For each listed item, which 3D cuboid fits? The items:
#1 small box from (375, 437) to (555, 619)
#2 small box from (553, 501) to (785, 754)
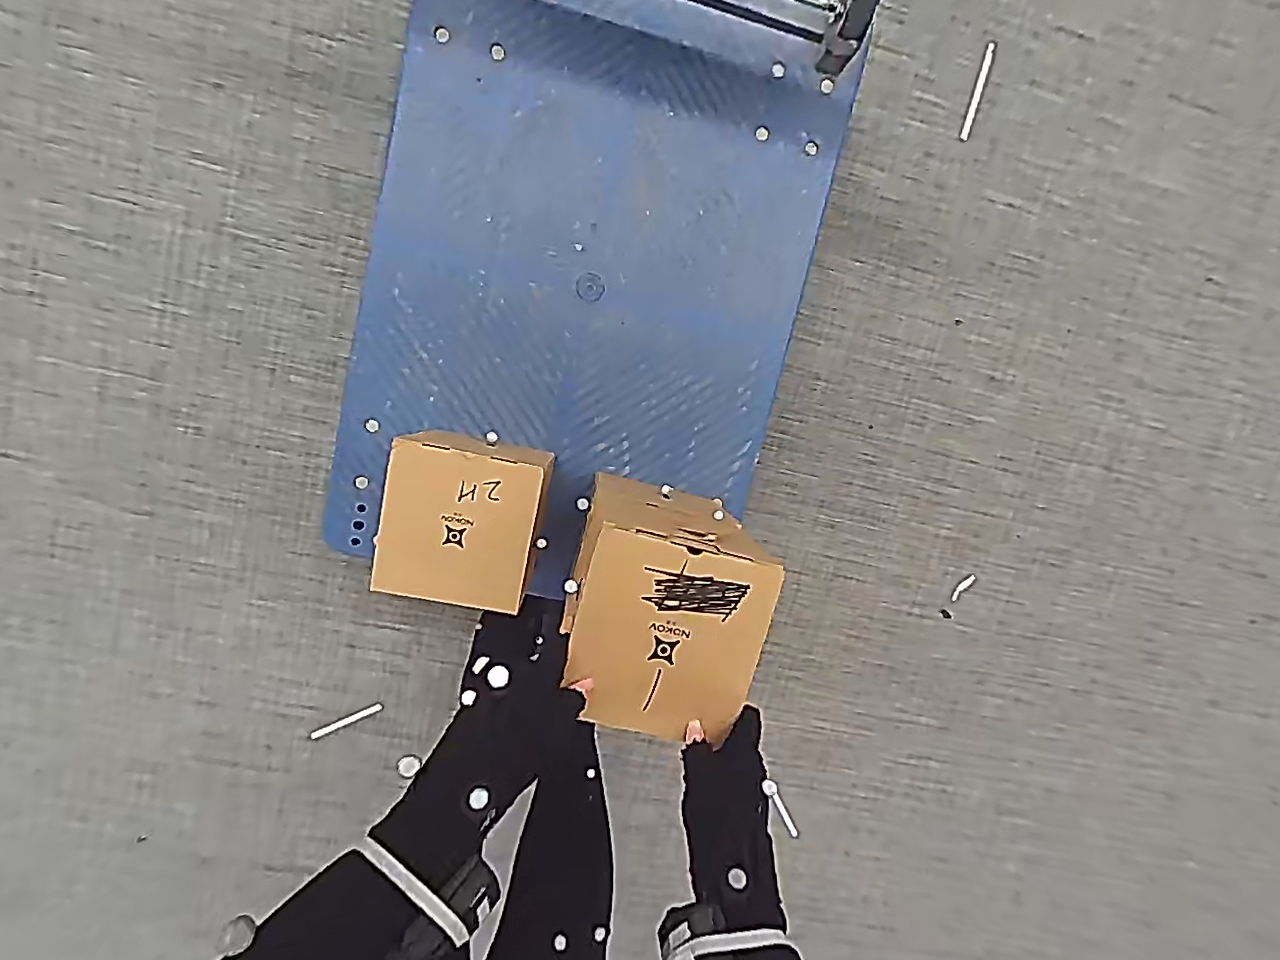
[{"bbox_3d":[-0.205,0.049,0.681,0.168,0.176,0.179,12,96,-7],"label":"small box"},{"bbox_3d":[0.018,0.131,0.543,0.168,0.176,0.179,15,97,-6],"label":"small box"}]
